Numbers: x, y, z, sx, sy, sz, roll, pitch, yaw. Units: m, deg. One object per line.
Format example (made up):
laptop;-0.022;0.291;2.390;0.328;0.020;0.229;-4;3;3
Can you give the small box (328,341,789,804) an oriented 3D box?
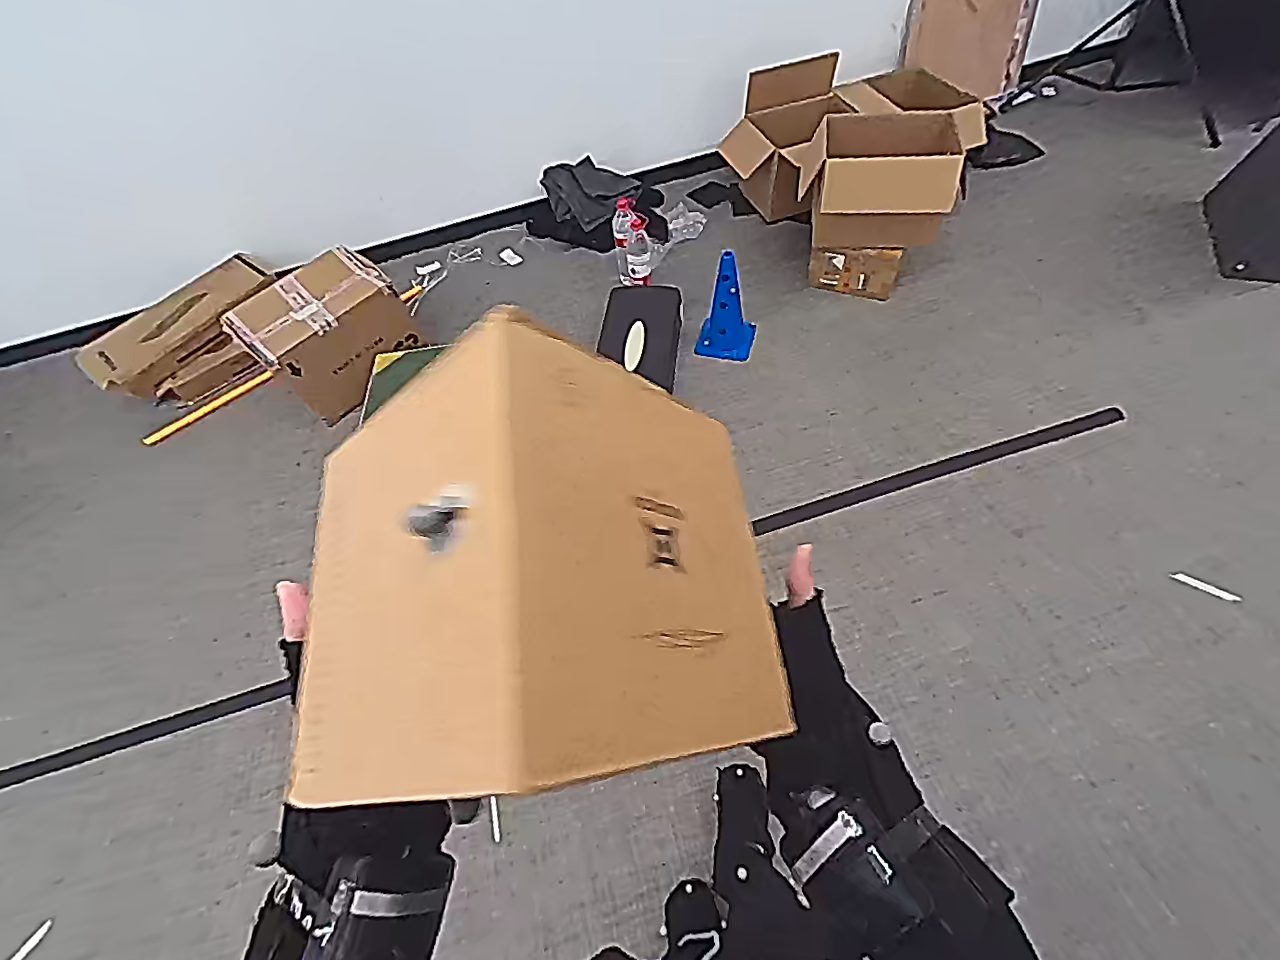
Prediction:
small box;-0.046;0.064;0.299;0.176;0.168;0.179;-25;60;33
